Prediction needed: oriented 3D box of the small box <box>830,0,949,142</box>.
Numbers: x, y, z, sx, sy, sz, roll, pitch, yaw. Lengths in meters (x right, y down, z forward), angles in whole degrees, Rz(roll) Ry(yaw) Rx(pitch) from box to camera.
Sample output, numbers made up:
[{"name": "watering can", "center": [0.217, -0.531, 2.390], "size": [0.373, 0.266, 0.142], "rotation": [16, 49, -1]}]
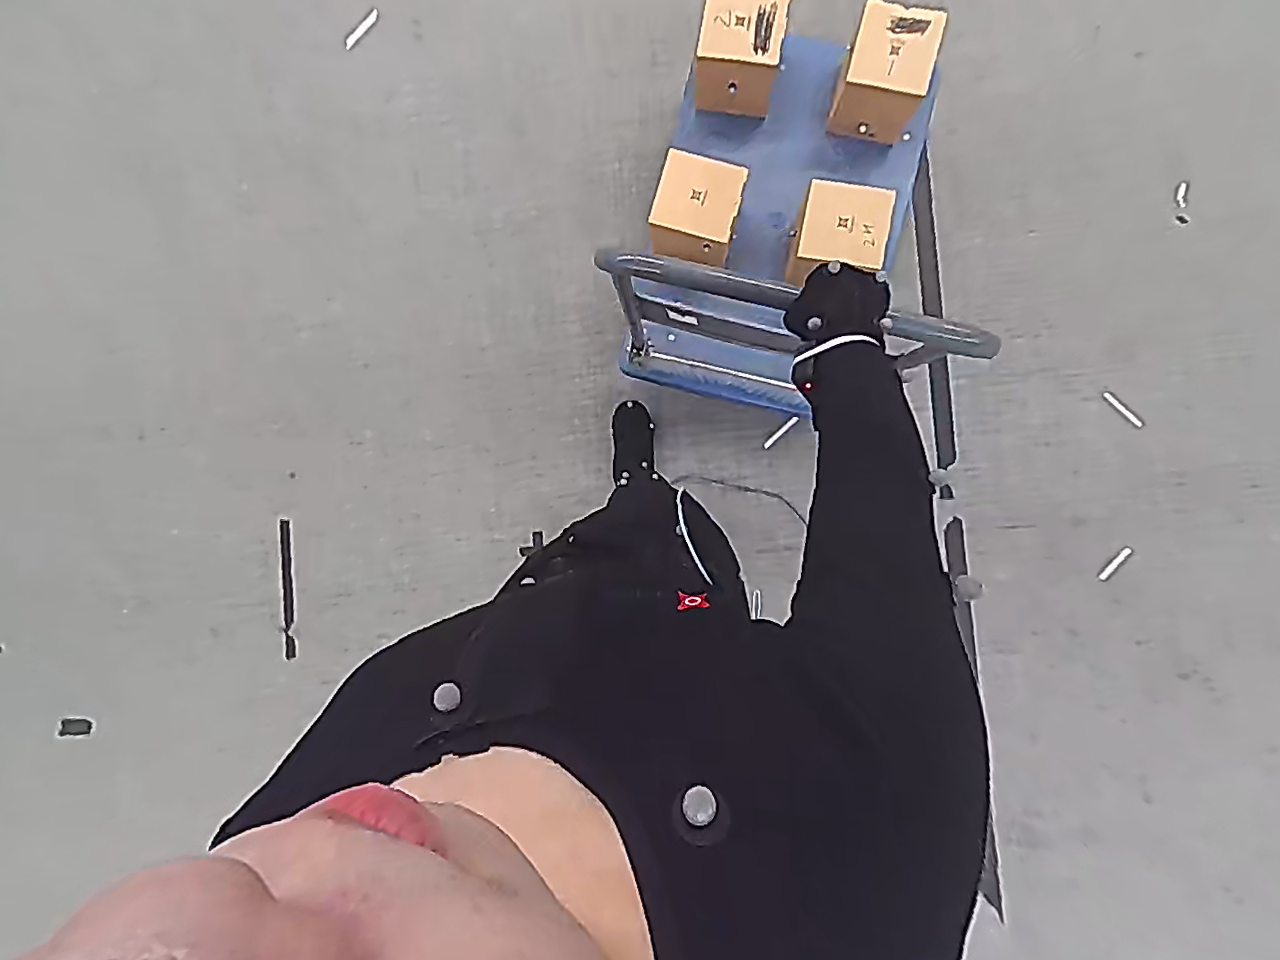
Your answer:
[{"name": "small box", "center": [0.533, -0.887, 1.181], "size": [0.168, 0.176, 0.179], "rotation": [15, 92, 4]}]

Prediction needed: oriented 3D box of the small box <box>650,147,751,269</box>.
[{"name": "small box", "center": [0.130, -0.598, 1.209], "size": [0.179, 0.176, 0.168], "rotation": [17, 90, 3]}]

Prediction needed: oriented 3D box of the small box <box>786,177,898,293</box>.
[{"name": "small box", "center": [0.431, -0.527, 1.186], "size": [0.179, 0.176, 0.168], "rotation": [12, 91, 5]}]
